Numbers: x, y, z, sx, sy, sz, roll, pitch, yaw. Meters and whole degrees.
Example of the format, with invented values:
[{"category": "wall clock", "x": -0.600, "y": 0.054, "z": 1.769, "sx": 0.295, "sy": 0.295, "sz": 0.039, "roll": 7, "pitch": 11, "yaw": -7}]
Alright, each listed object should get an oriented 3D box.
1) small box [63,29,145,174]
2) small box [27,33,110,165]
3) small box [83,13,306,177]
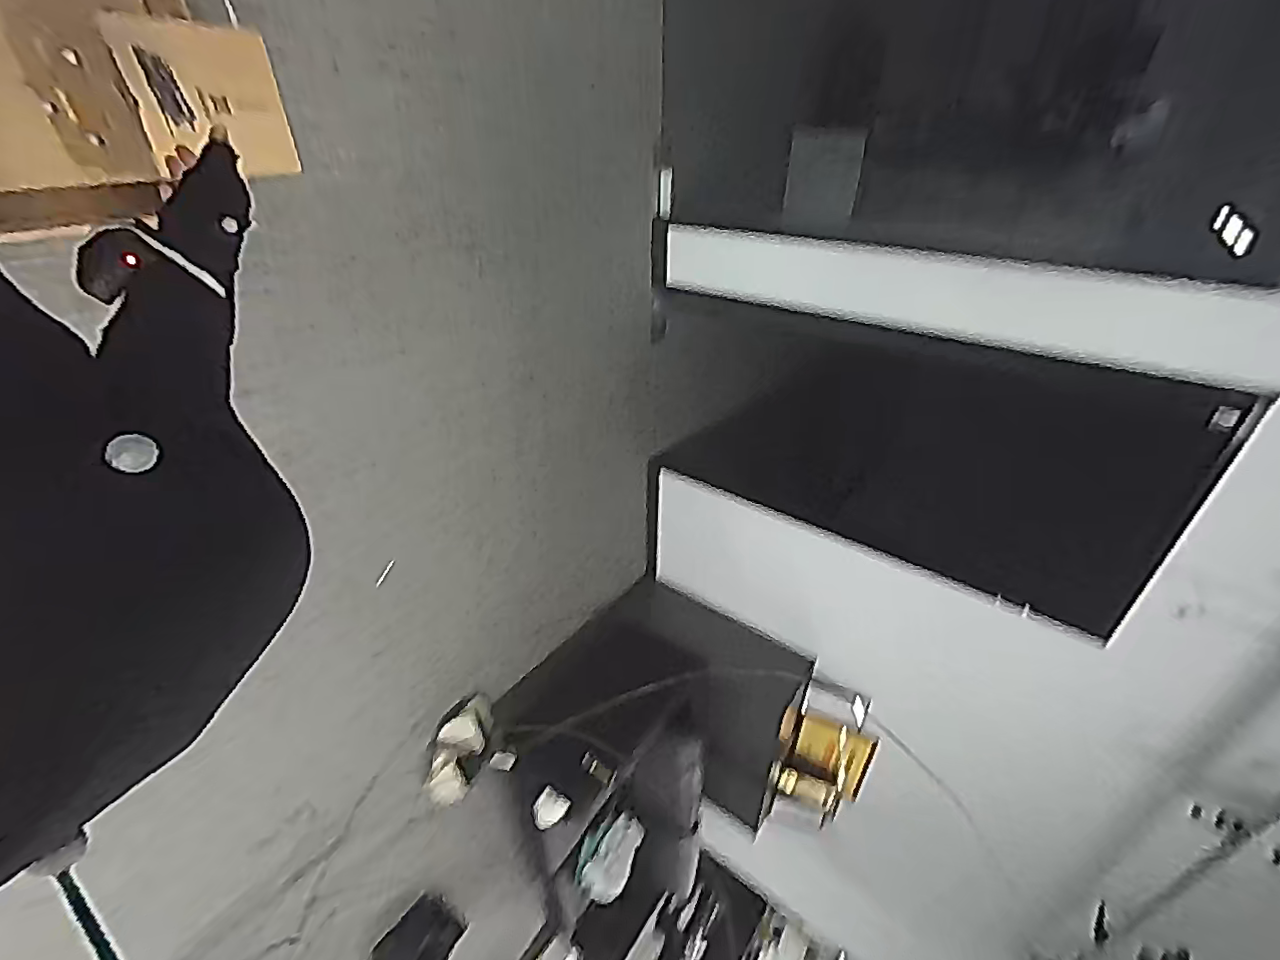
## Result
[{"category": "small box", "x": -0.725, "y": -0.567, "z": 0.828, "sx": 0.179, "sy": 0.176, "sz": 0.168, "roll": -36, "pitch": 136, "yaw": -41}, {"category": "small box", "x": -0.870, "y": -0.638, "z": 0.914, "sx": 0.179, "sy": 0.176, "sz": 0.168, "roll": -40, "pitch": 138, "yaw": -38}, {"category": "small box", "x": -0.612, "y": -0.517, "z": 0.747, "sx": 0.179, "sy": 0.176, "sz": 0.168, "roll": -35, "pitch": 137, "yaw": -42}]
